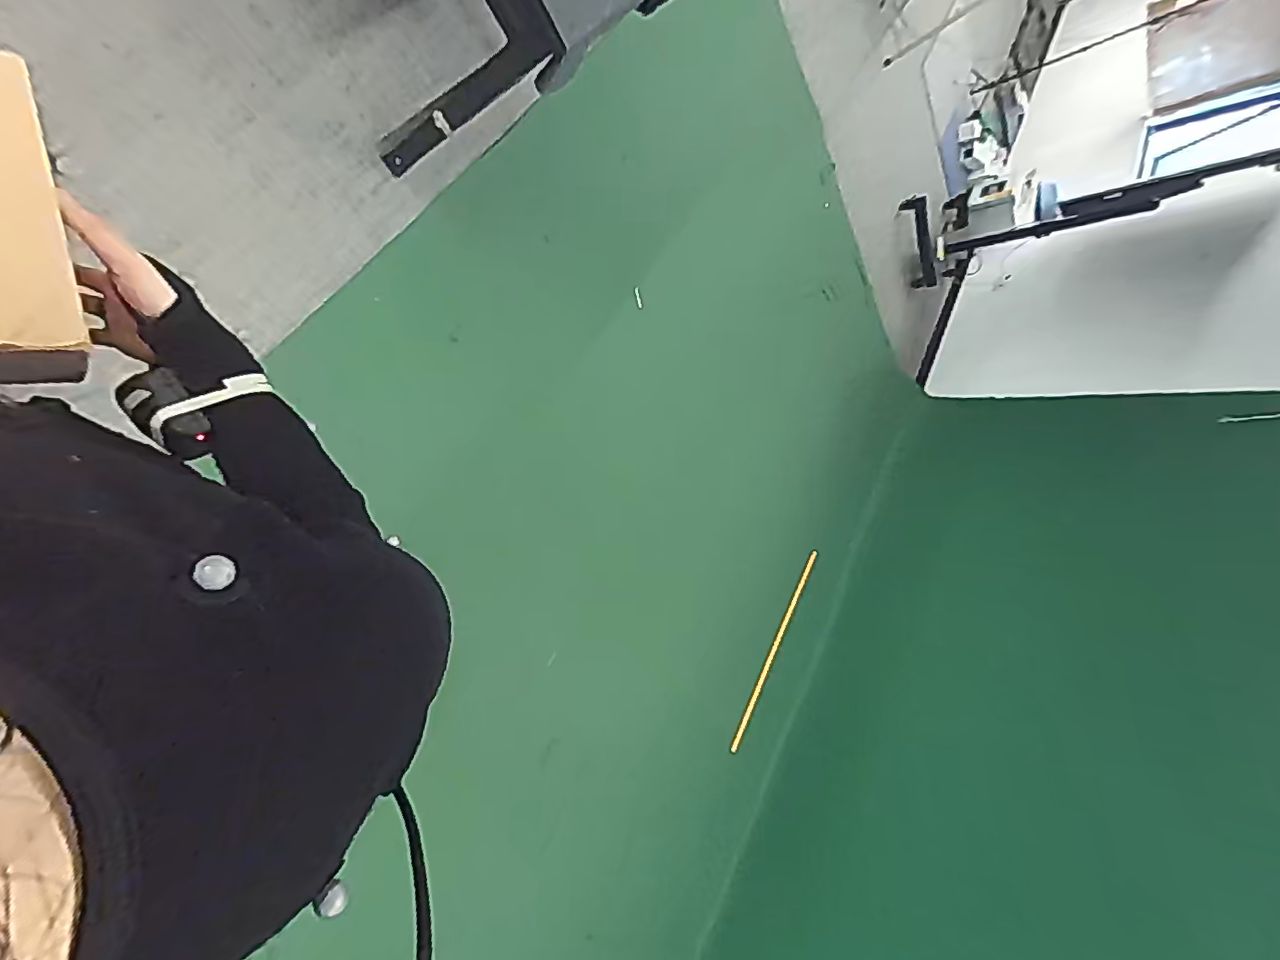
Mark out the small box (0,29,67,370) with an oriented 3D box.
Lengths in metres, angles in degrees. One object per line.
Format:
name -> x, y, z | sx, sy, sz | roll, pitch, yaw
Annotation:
small box -> -0.471, -0.165, 0.314 | 0.168, 0.176, 0.179 | -13, 100, -47
